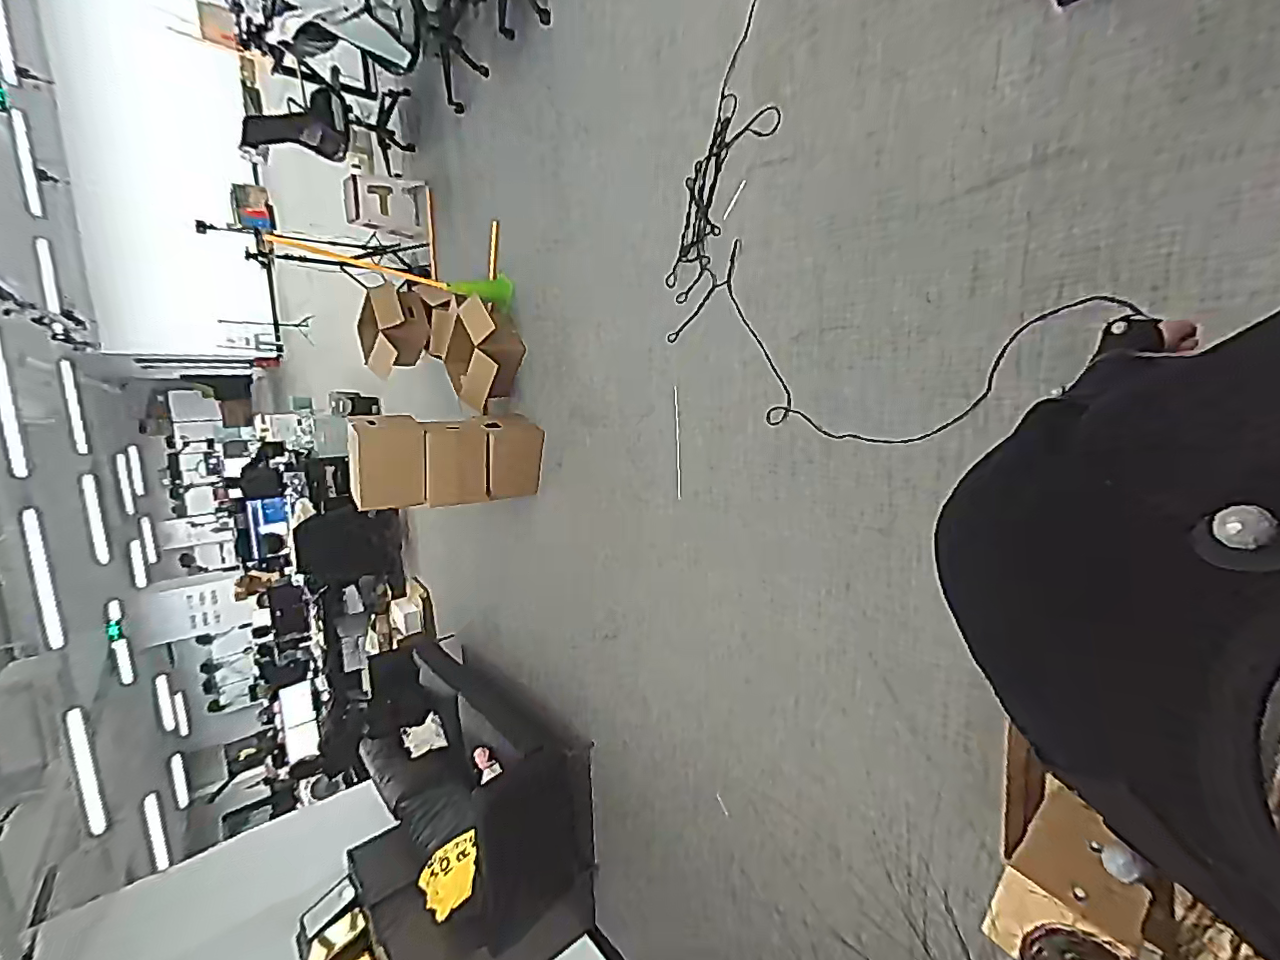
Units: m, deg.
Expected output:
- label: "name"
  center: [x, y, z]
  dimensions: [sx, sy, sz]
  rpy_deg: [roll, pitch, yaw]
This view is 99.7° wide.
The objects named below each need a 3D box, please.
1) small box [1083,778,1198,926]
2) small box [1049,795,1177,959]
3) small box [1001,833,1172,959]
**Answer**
- label: "small box"
  center: [1.053, 0.771, 1.148]
  dimensions: [0.179, 0.176, 0.168]
  rpy_deg: [-4, 92, 52]
- label: "small box"
  center: [0.920, 0.765, 1.051]
  dimensions: [0.168, 0.176, 0.179]
  rpy_deg: [2, 98, 50]
- label: "small box"
  center: [0.787, 0.771, 0.956]
  dimensions: [0.179, 0.176, 0.168]
  rpy_deg: [24, 114, 47]
